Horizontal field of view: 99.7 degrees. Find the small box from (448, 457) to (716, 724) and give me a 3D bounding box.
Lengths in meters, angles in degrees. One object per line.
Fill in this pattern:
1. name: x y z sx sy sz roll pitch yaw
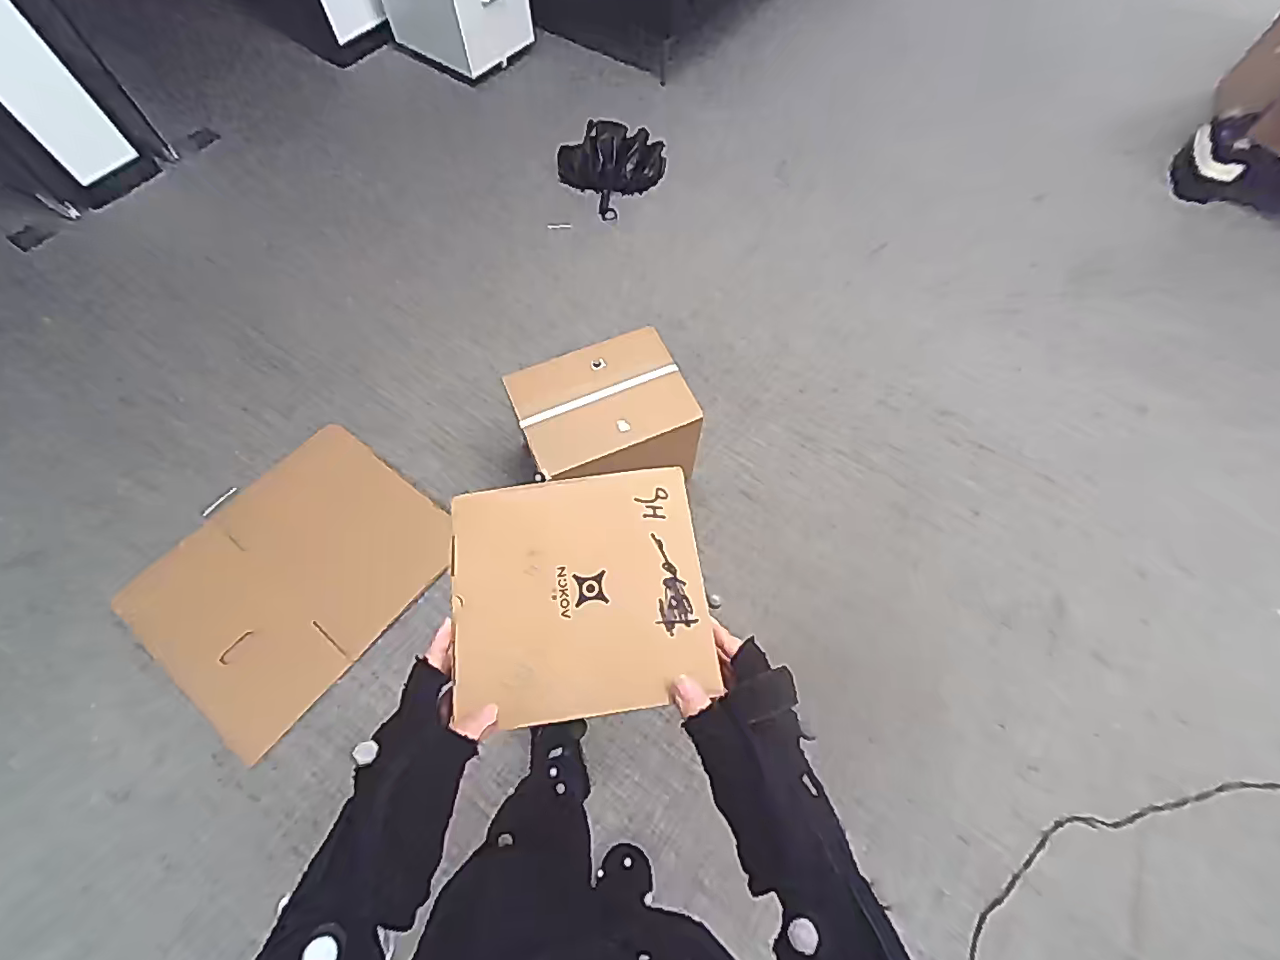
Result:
1. small box: -0.046 0.103 0.458 0.179 0.176 0.168 -11 65 -5
